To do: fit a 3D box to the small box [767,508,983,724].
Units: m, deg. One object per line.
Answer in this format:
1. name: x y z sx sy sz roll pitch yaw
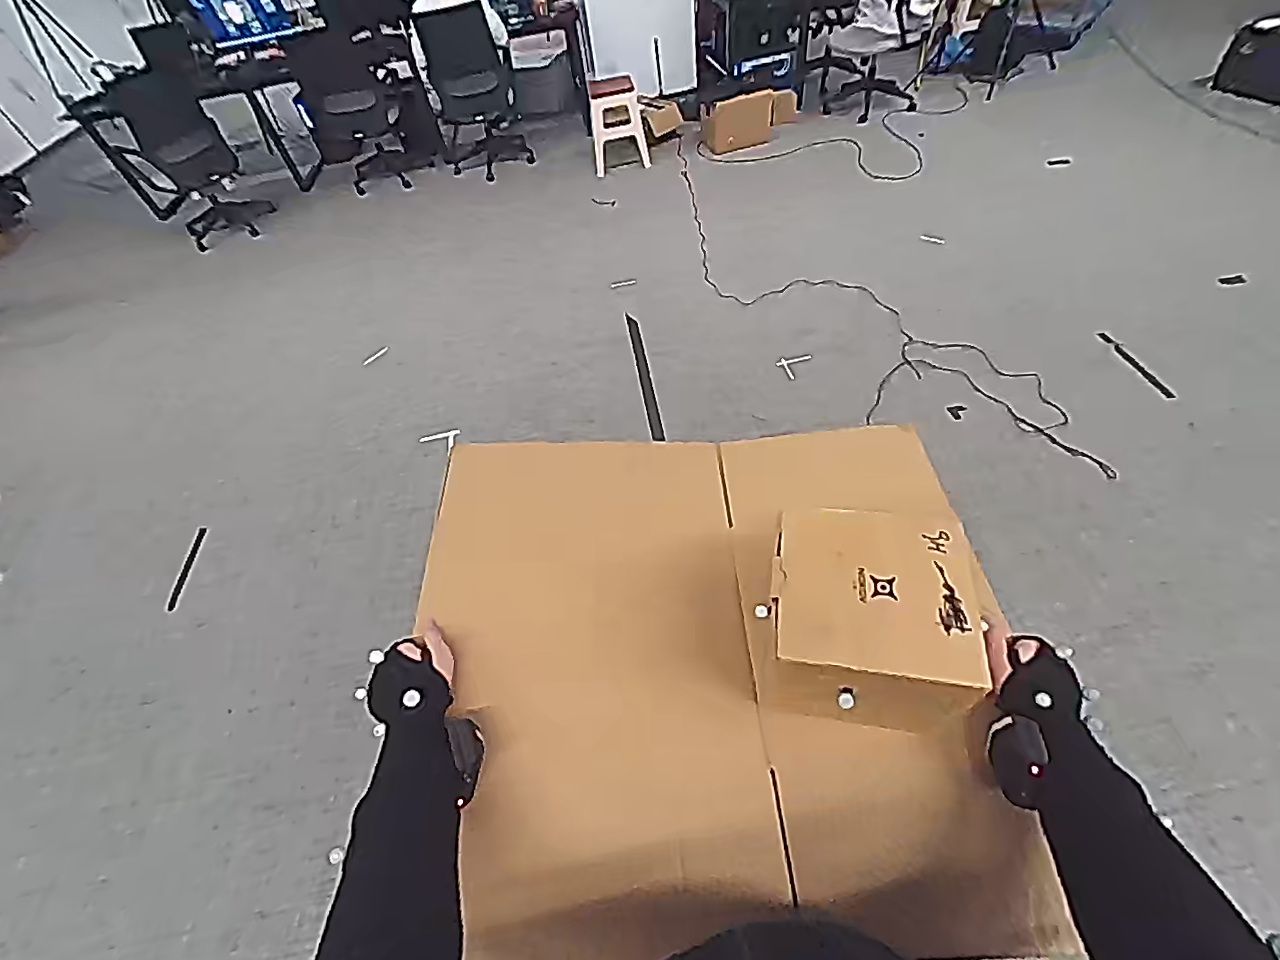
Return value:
1. small box: 0.230 0.147 0.577 0.179 0.176 0.168 4 55 13
